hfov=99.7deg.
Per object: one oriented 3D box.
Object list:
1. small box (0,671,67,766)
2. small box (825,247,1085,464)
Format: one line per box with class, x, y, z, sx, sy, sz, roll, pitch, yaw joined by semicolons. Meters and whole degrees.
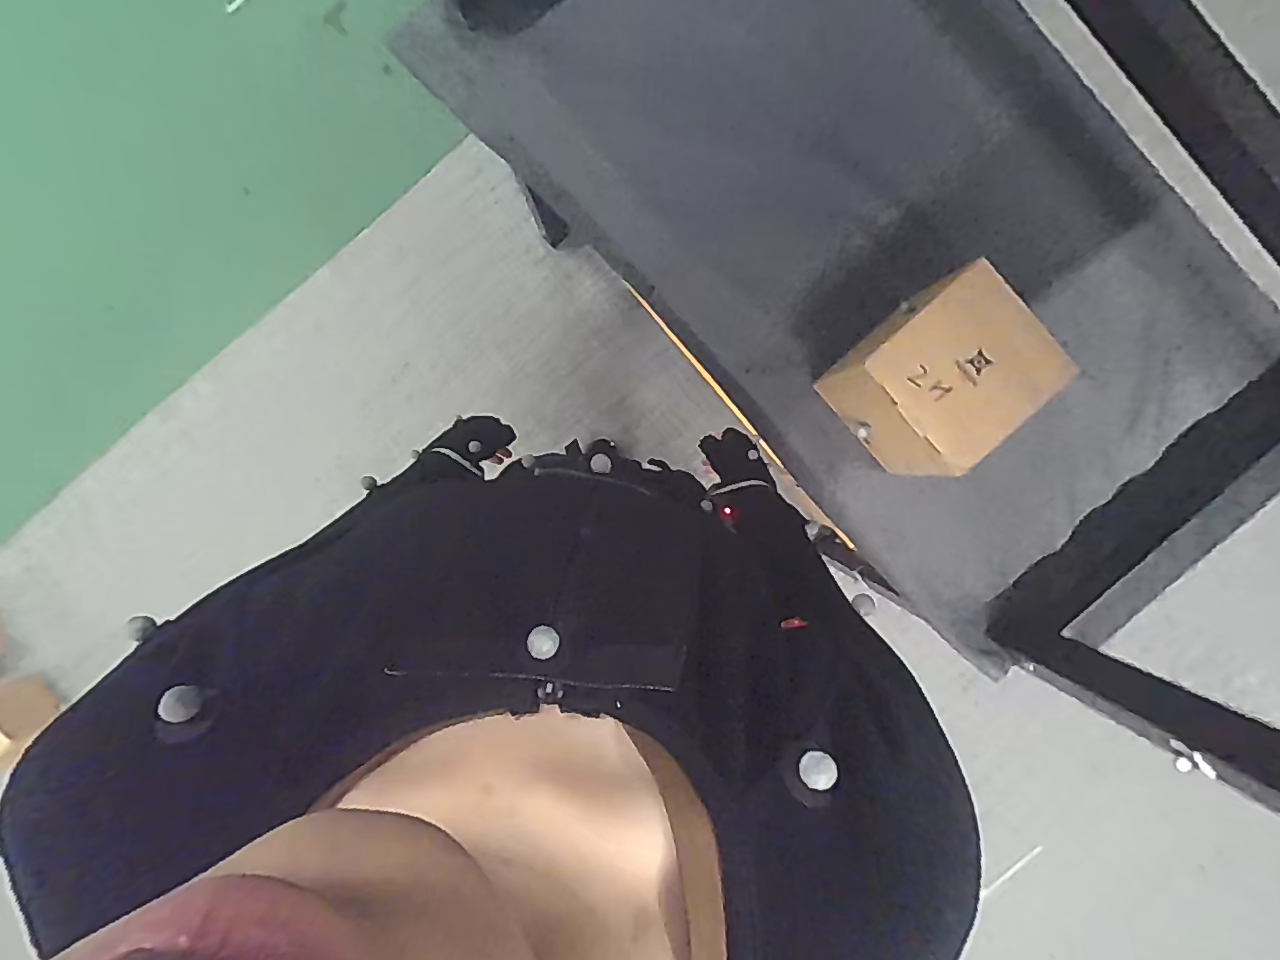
small box;-1.678;0.637;1.413;0.179;0.176;0.168;-44;91;2
small box;0.360;-0.136;0.655;0.179;0.176;0.168;-41;91;1
